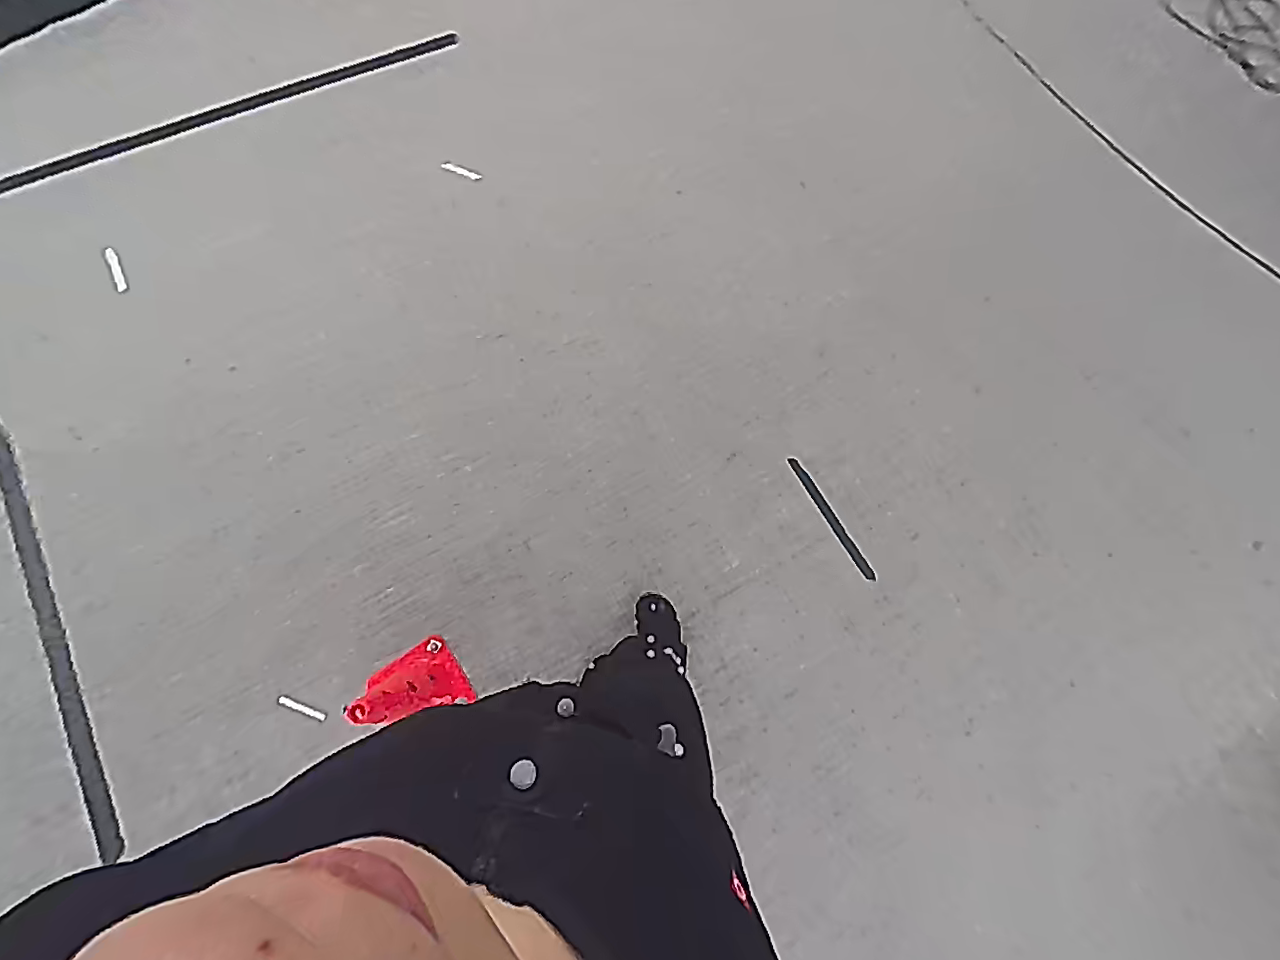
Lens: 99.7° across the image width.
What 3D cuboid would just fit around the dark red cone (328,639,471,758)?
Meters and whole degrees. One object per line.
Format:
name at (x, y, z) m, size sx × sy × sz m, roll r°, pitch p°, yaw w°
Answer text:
dark red cone at (-0.508, 0.457, 1.086) m, size 0.201 × 0.394 × 0.202 m, roll -35°, pitch 80°, yaw -10°
